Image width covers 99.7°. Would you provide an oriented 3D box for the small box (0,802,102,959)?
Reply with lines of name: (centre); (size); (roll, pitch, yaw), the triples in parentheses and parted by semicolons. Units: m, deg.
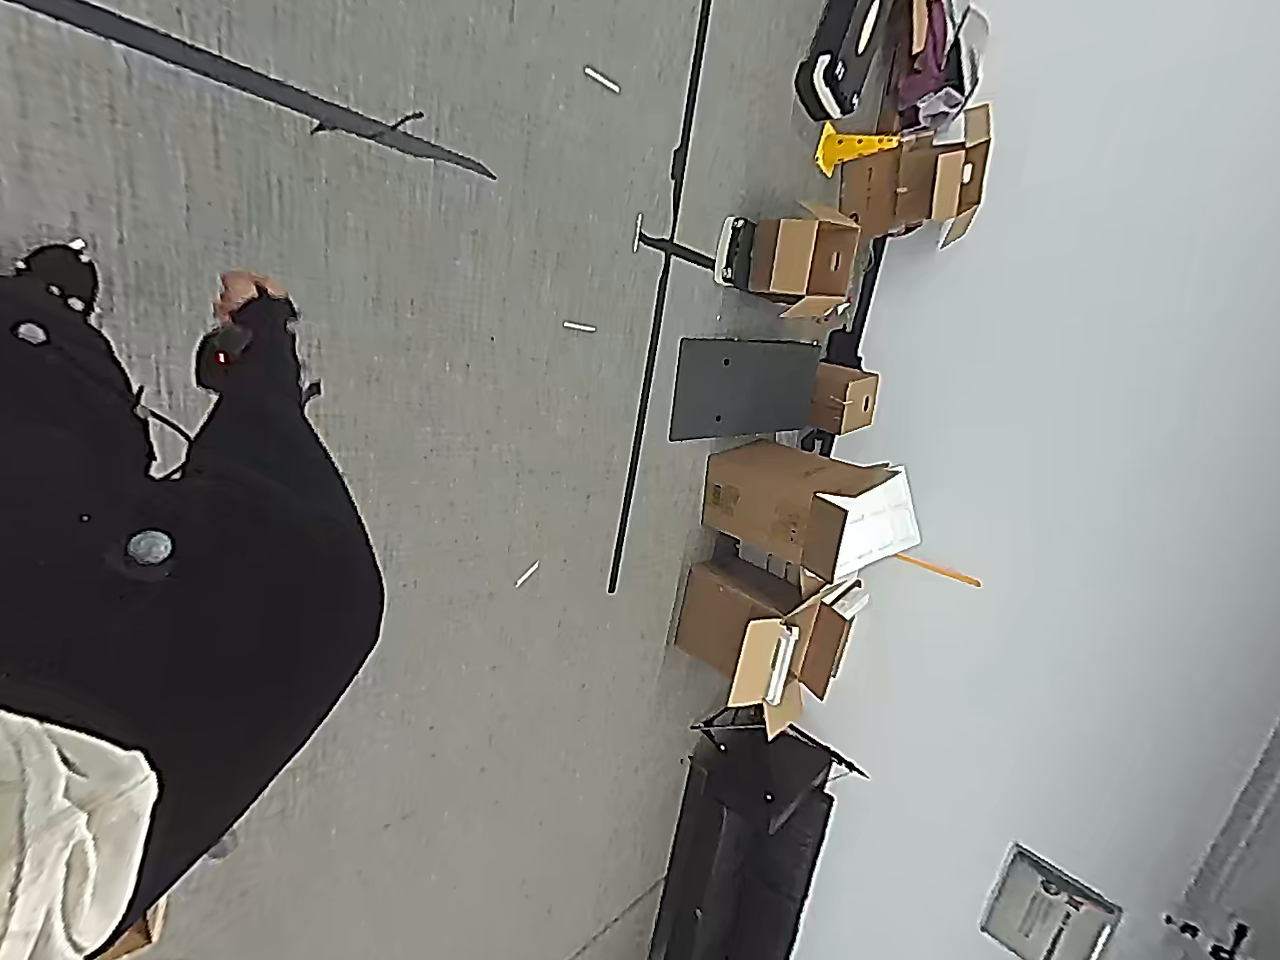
small box: (-1.073, 0.710, 0.943); (0.179, 0.176, 0.168); (3, 106, -47)
